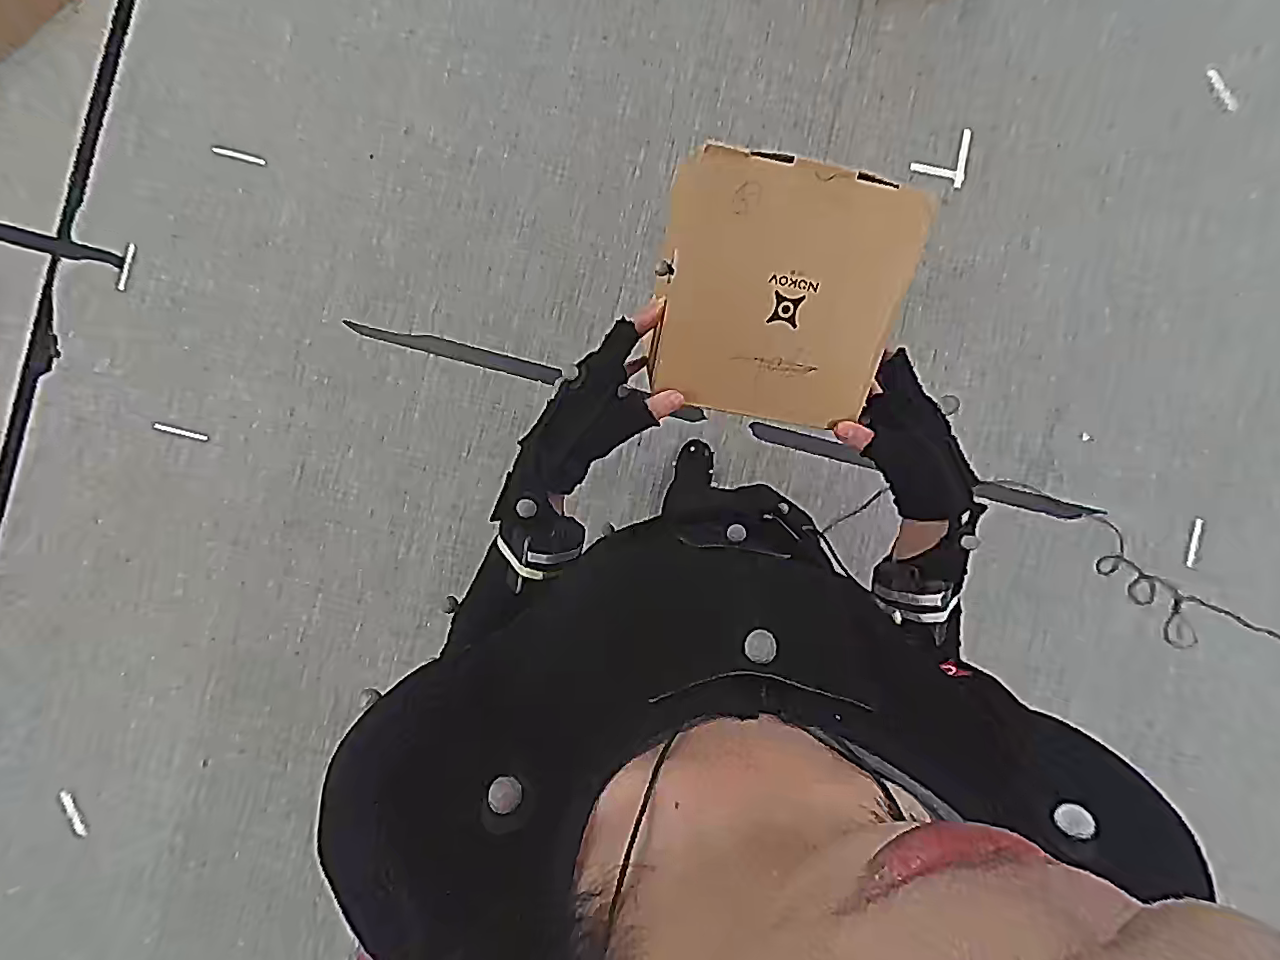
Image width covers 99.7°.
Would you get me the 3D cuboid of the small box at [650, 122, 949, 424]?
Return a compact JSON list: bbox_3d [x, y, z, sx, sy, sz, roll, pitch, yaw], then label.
[{"bbox_3d":[0.105,-0.167,0.450,0.168,0.176,0.179,9,116,-6],"label":"small box"}]
